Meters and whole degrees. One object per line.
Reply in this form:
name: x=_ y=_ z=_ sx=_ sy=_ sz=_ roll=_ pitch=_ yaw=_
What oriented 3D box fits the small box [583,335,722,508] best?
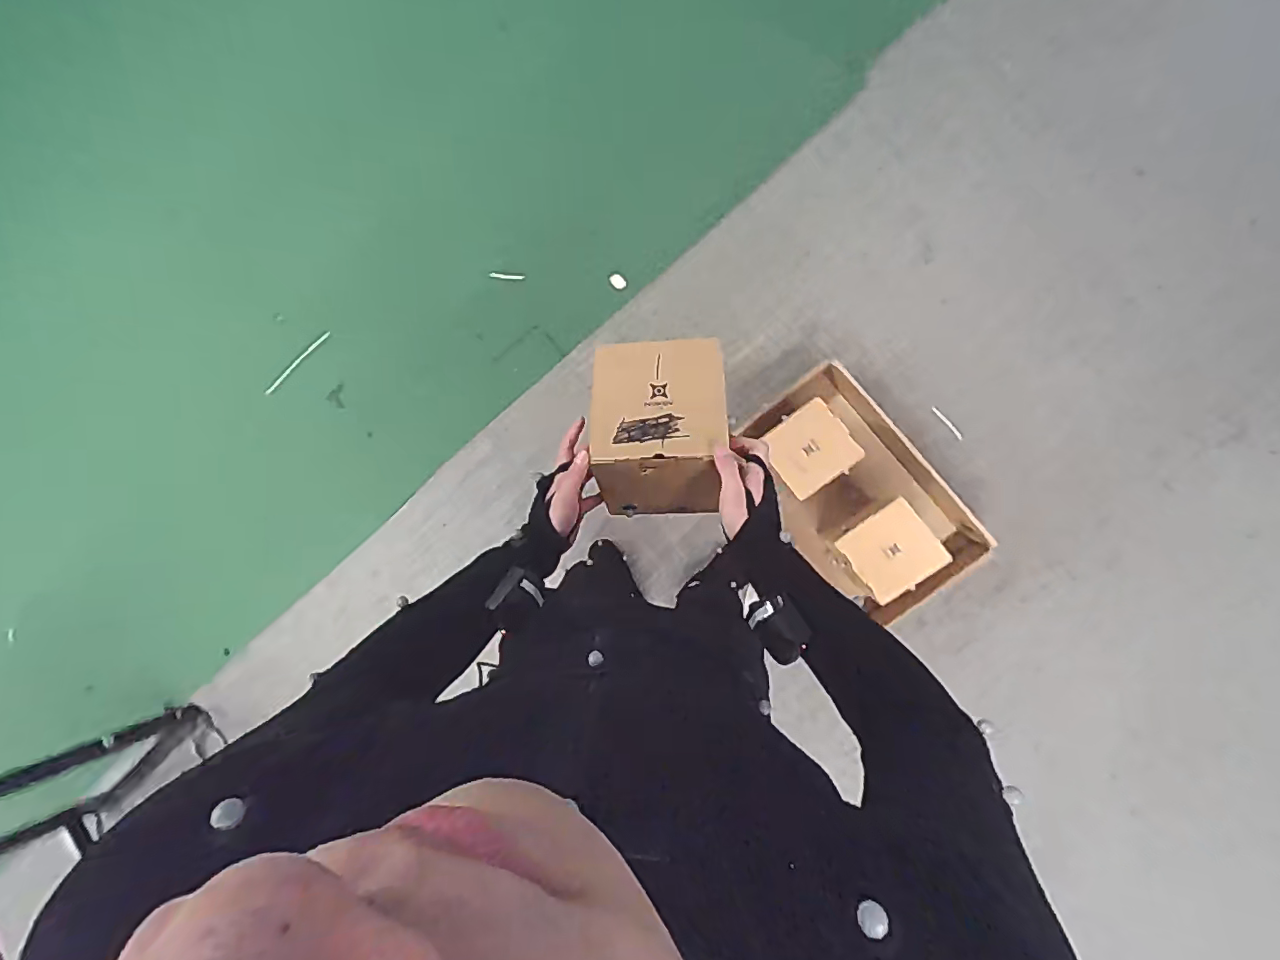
small box: x=0.023 y=-0.068 z=0.727 sx=0.168 sy=0.176 sz=0.179 roll=-3 pitch=64 yaw=5

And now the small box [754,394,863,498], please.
small box: x=0.383 y=-0.075 z=1.267 sx=0.179 sy=0.176 sz=0.168 roll=-36 pitch=83 yaw=8

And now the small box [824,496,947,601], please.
small box: x=0.547 y=0.147 z=1.233 sx=0.179 sy=0.176 sz=0.168 roll=-37 pitch=82 yaw=8
